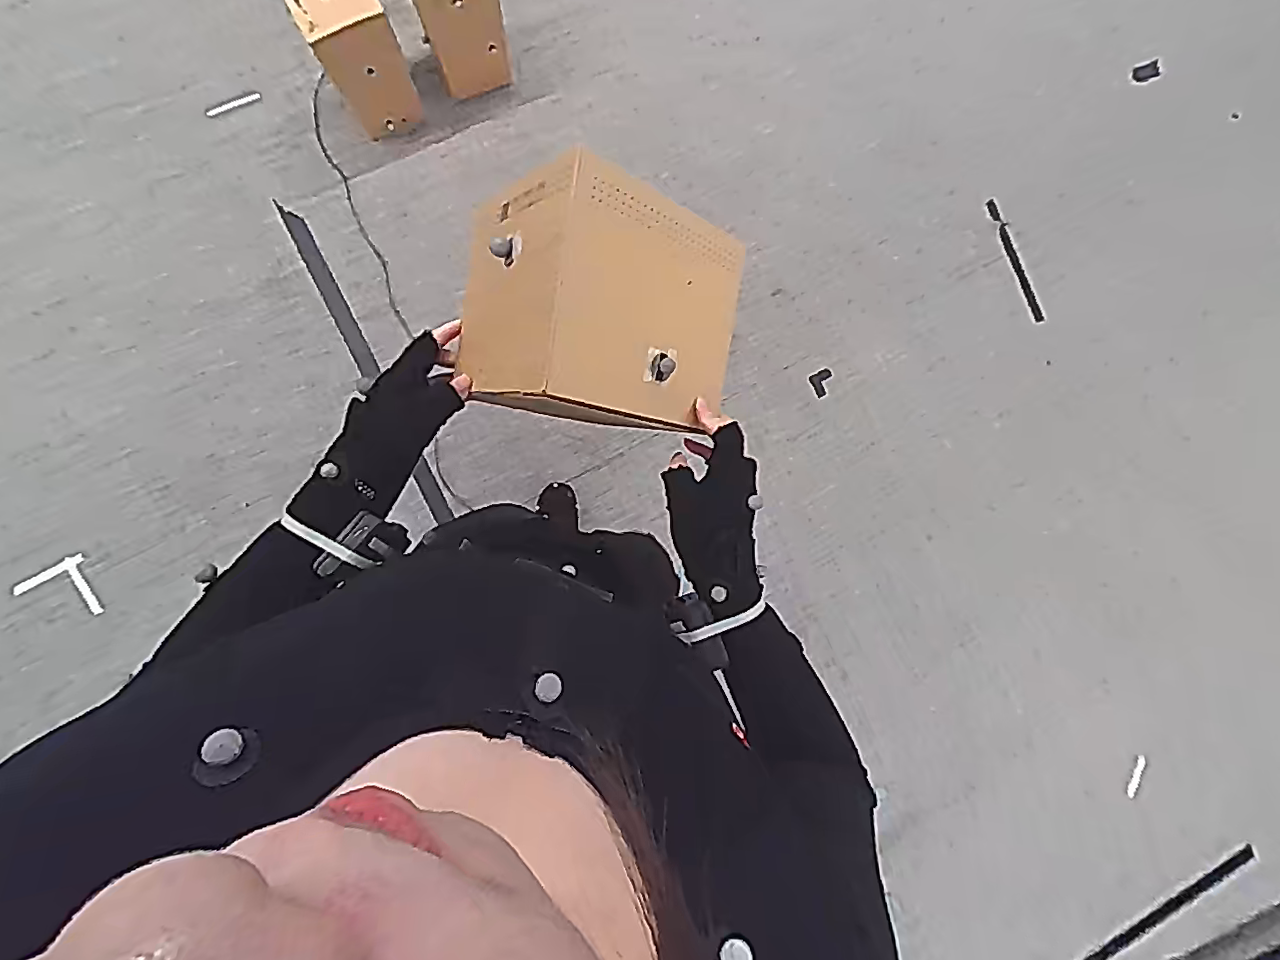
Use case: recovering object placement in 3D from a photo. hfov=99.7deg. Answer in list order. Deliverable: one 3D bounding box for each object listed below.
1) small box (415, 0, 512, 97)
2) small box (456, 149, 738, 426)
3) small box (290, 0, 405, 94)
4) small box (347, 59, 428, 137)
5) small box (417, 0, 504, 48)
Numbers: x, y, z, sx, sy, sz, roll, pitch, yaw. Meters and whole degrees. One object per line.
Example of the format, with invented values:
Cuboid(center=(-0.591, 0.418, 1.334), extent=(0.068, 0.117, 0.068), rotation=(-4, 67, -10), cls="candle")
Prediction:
Cuboid(center=(-0.446, -1.136, 1.388), extent=(0.179, 0.176, 0.168), rotation=(-25, 92, -7), cls="small box")
Cuboid(center=(-0.035, -0.148, 0.472), extent=(0.179, 0.168, 0.176), rotation=(7, 93, -41), cls="small box")
Cuboid(center=(-0.647, -1.014, 1.198), extent=(0.179, 0.176, 0.168), rotation=(-27, 92, -6), cls="small box")
Cuboid(center=(-0.666, -1.018, 1.361), extent=(0.168, 0.176, 0.179), rotation=(-26, 93, -5), cls="small box")
Cuboid(center=(-0.426, -1.135, 1.224), extent=(0.179, 0.176, 0.168), rotation=(-26, 93, -8), cls="small box")
